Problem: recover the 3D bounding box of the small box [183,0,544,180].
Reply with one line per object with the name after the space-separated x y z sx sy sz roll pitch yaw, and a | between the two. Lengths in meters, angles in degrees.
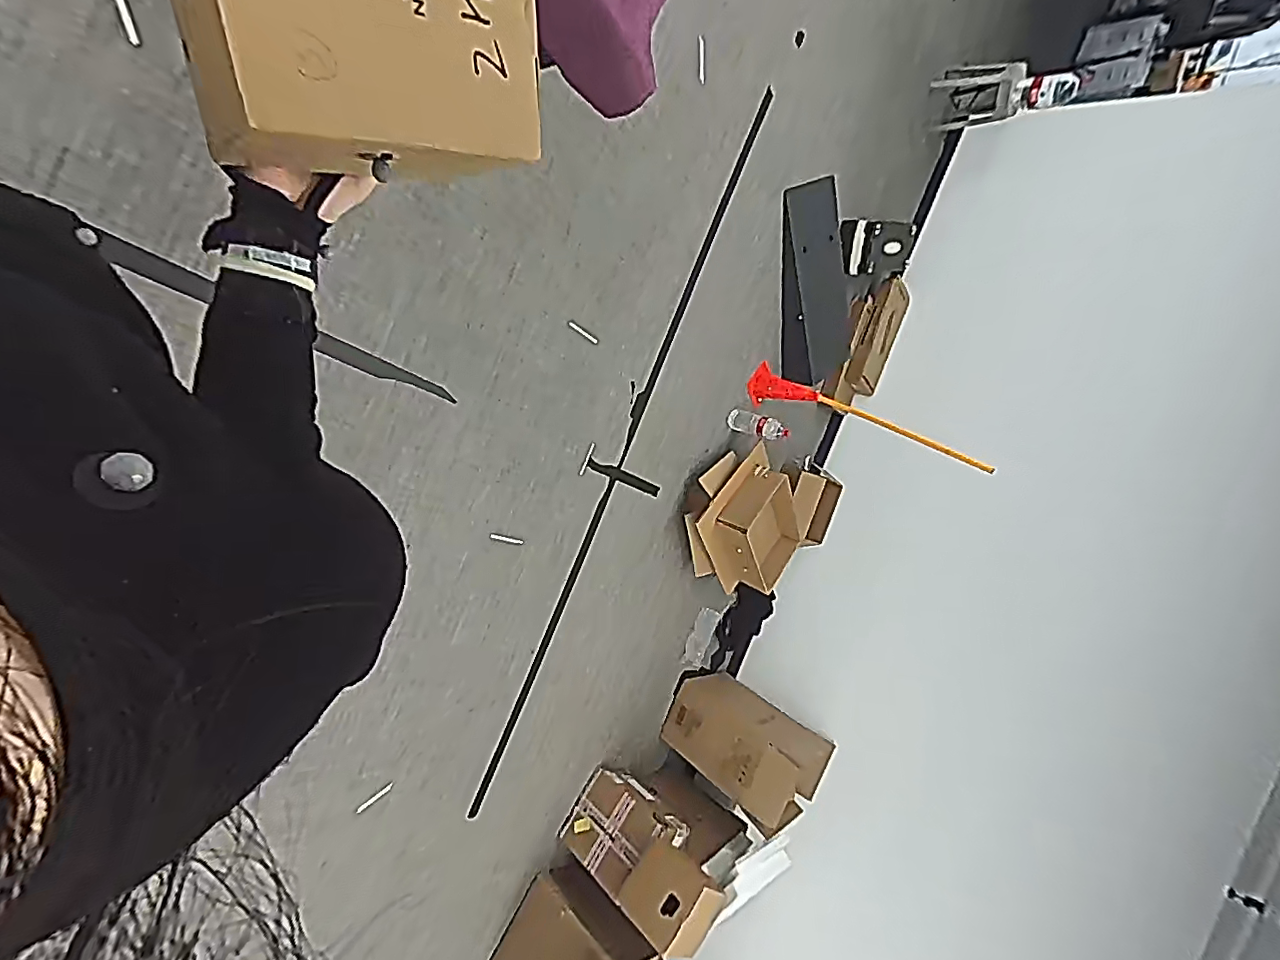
-0.185 -0.300 0.355 0.179 0.176 0.168 -20 121 -37 | small box
